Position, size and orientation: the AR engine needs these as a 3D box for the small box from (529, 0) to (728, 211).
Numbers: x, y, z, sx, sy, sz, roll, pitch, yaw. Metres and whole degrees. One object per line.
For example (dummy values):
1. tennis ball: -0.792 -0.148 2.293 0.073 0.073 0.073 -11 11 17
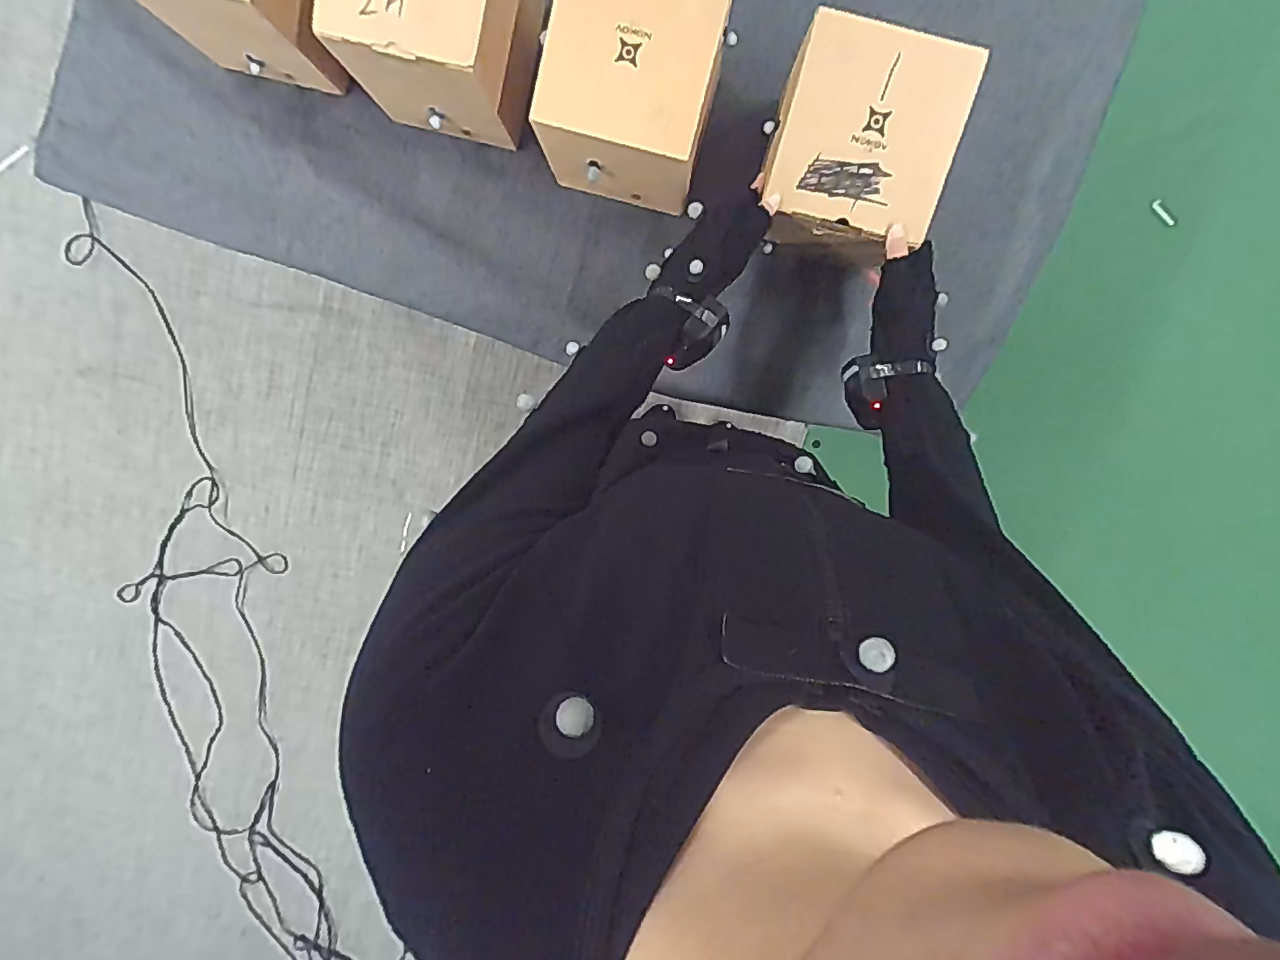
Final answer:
1. small box: -0.008 -0.428 0.599 0.168 0.176 0.179 15 97 0

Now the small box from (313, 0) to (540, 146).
1. small box: -0.216 -0.512 0.592 0.168 0.176 0.179 14 98 0
